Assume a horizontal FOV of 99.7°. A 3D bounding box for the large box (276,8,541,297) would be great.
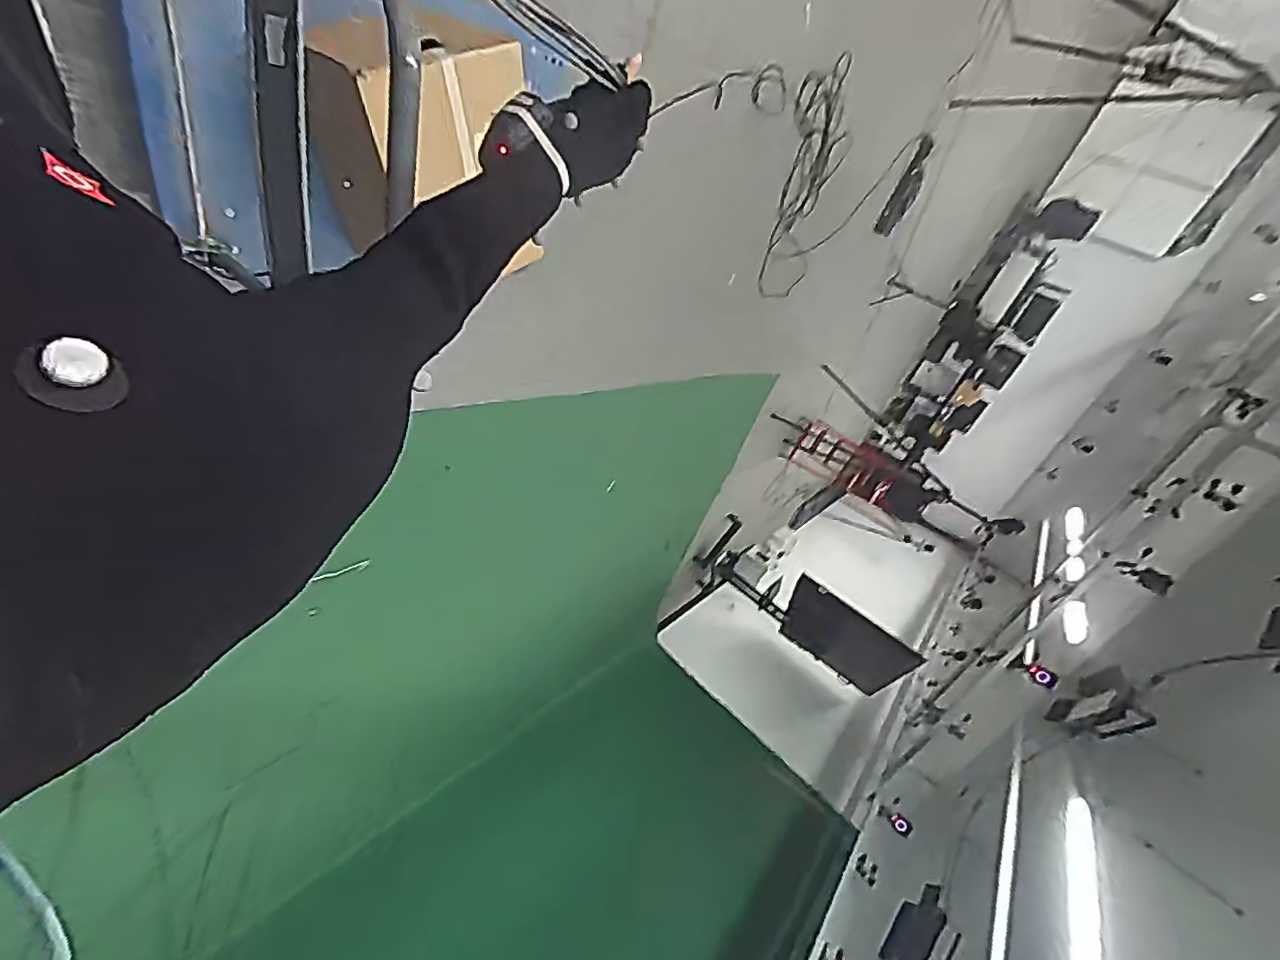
[{"bbox_3d":[-0.442,-0.665,1.109,0.320,0.320,0.408,-38,151,-28],"label":"large box"}]
